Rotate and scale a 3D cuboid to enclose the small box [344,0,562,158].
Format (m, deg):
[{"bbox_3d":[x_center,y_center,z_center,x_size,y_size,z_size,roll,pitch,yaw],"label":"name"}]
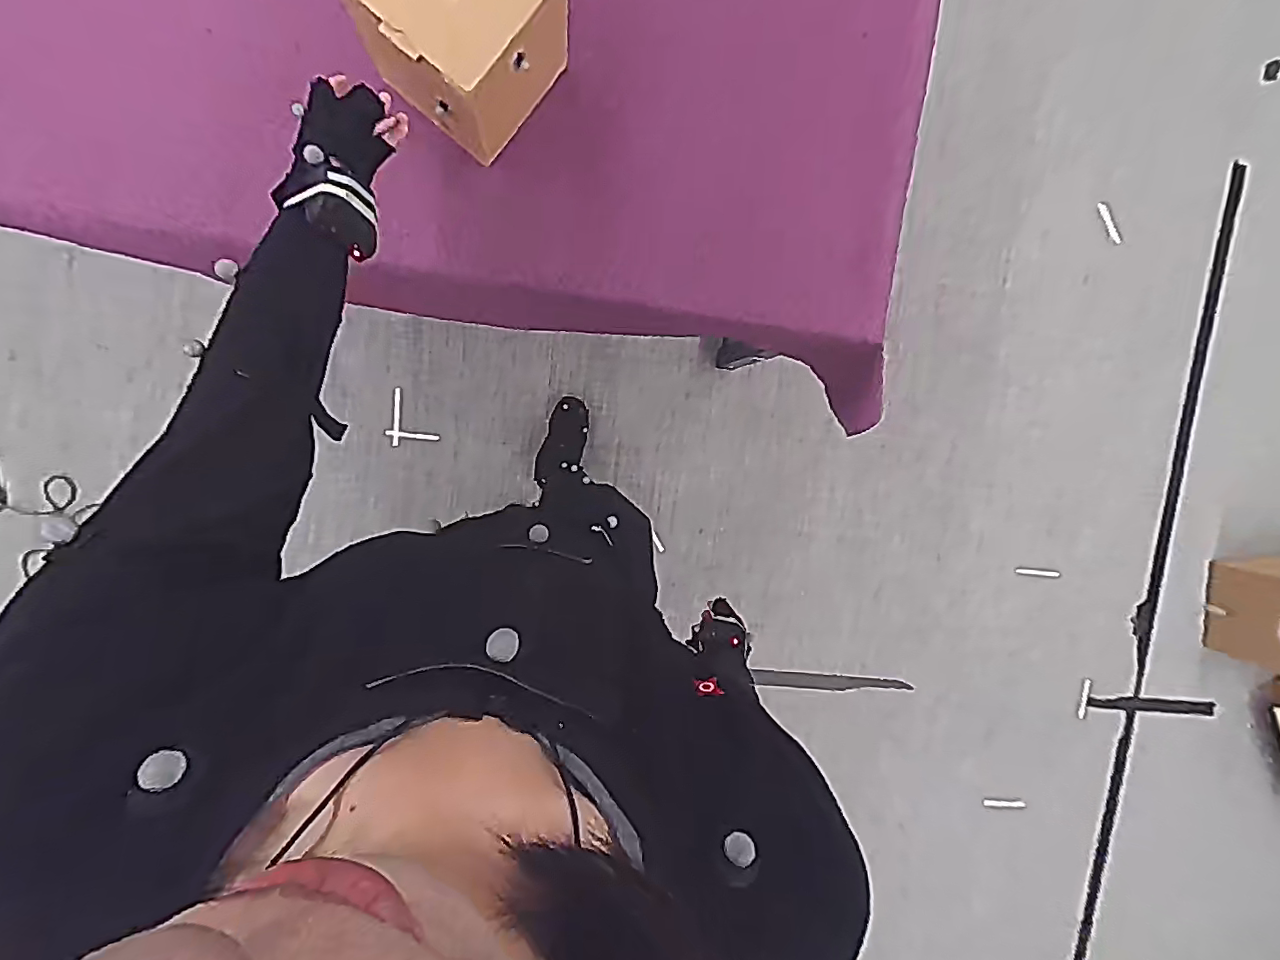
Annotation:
[{"bbox_3d":[-0.200,-0.524,0.627,0.168,0.176,0.179,37,90,-11],"label":"small box"}]
